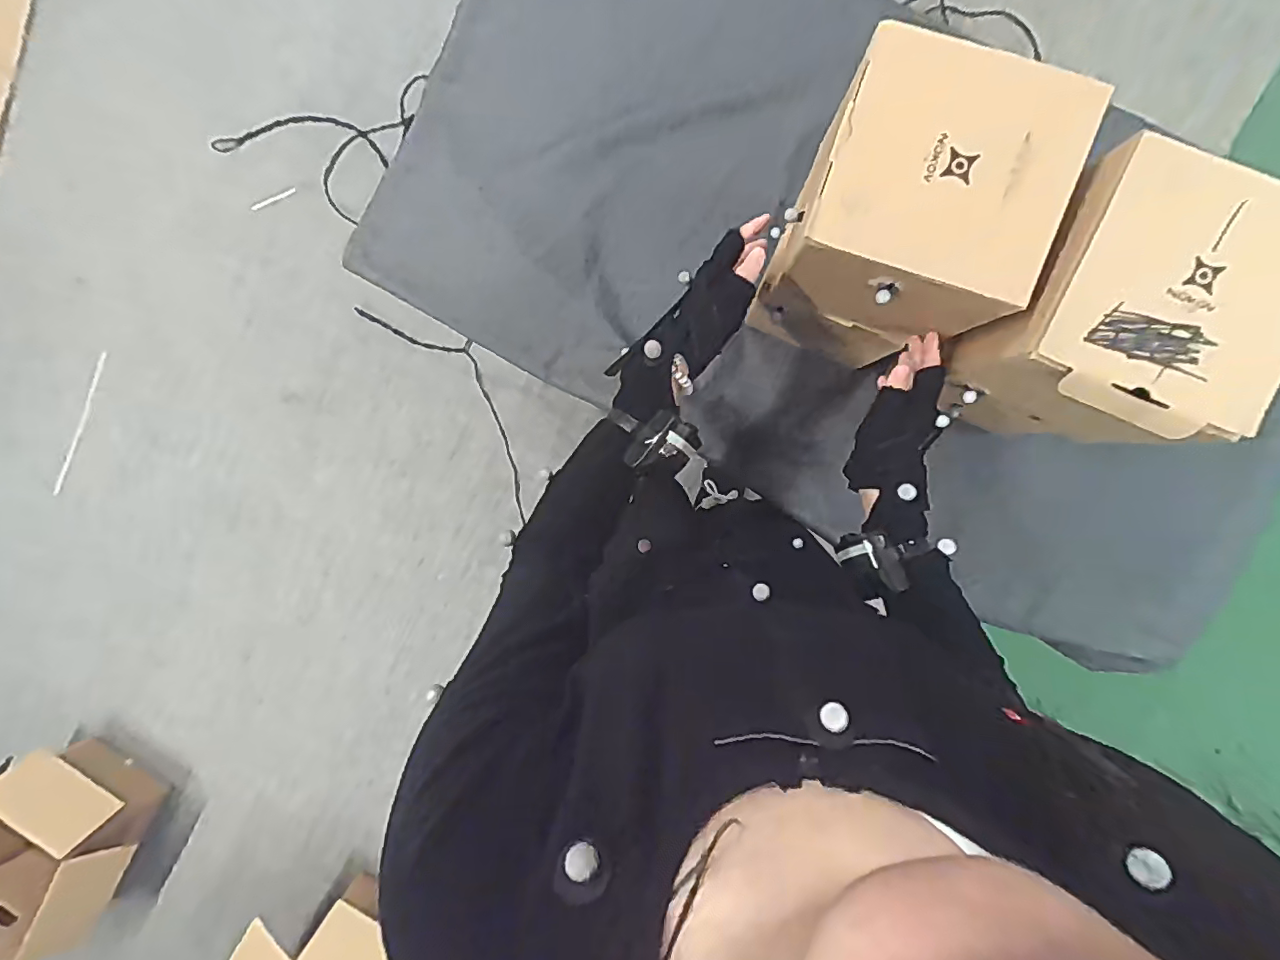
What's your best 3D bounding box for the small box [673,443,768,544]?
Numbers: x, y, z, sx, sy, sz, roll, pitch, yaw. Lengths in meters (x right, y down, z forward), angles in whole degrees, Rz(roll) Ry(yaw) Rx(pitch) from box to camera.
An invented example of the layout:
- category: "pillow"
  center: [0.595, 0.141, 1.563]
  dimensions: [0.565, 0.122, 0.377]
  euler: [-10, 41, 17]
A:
- category: "small box"
  center: [0.202, 0.038, 1.410]
  dimensions: [0.179, 0.176, 0.168]
  euler: [-25, 61, -16]
